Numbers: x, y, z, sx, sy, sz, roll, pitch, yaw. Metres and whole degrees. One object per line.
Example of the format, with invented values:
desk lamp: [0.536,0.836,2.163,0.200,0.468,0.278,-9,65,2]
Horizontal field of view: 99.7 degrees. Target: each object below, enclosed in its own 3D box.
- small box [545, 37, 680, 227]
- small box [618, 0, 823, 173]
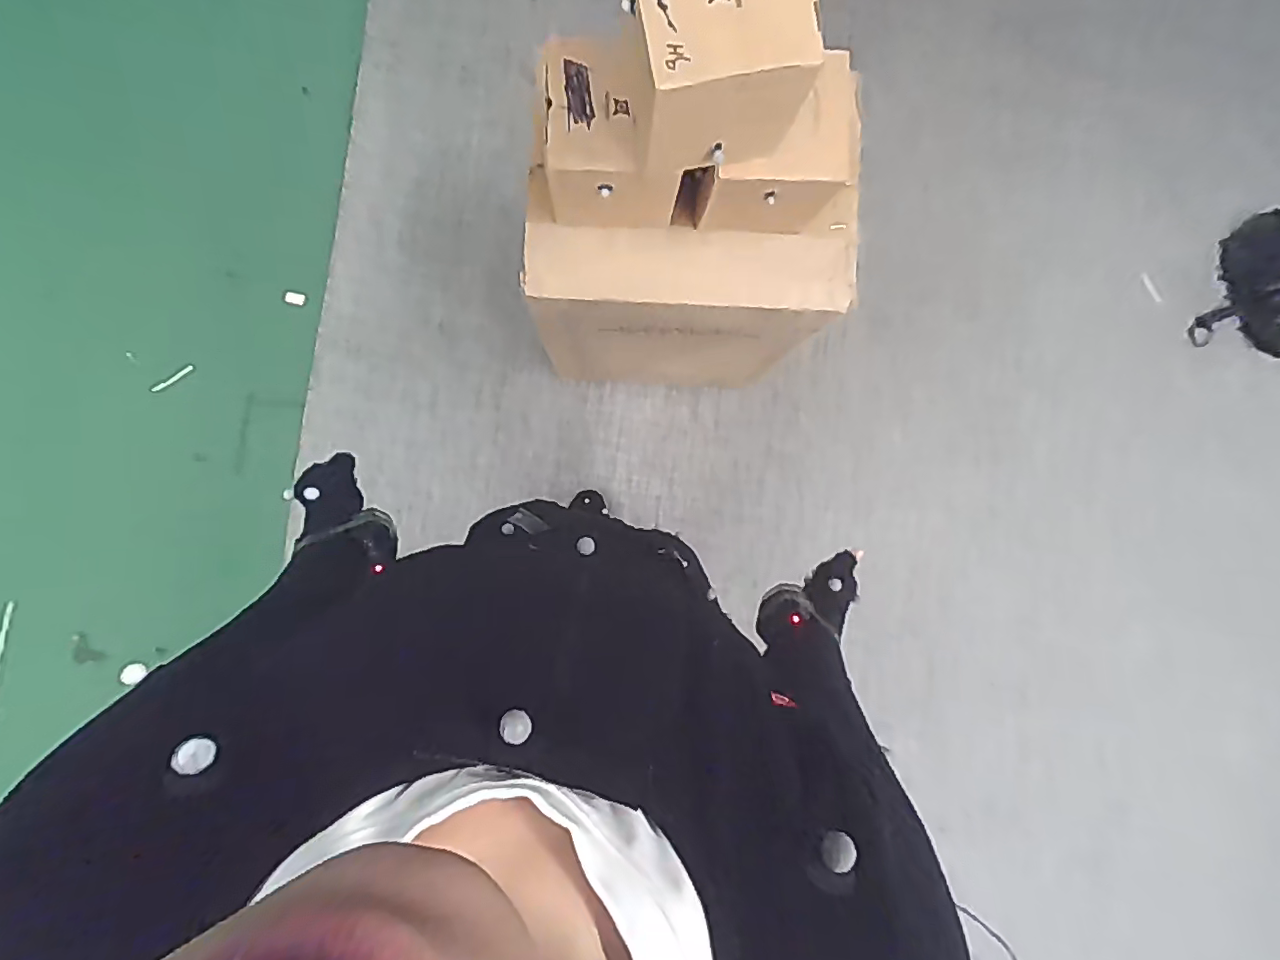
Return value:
small box: [-0.036,-0.477,0.766,0.179,0.176,0.168,1,92,-4]
small box: [0.078,-0.478,0.609,0.179,0.176,0.168,-11,93,-4]
